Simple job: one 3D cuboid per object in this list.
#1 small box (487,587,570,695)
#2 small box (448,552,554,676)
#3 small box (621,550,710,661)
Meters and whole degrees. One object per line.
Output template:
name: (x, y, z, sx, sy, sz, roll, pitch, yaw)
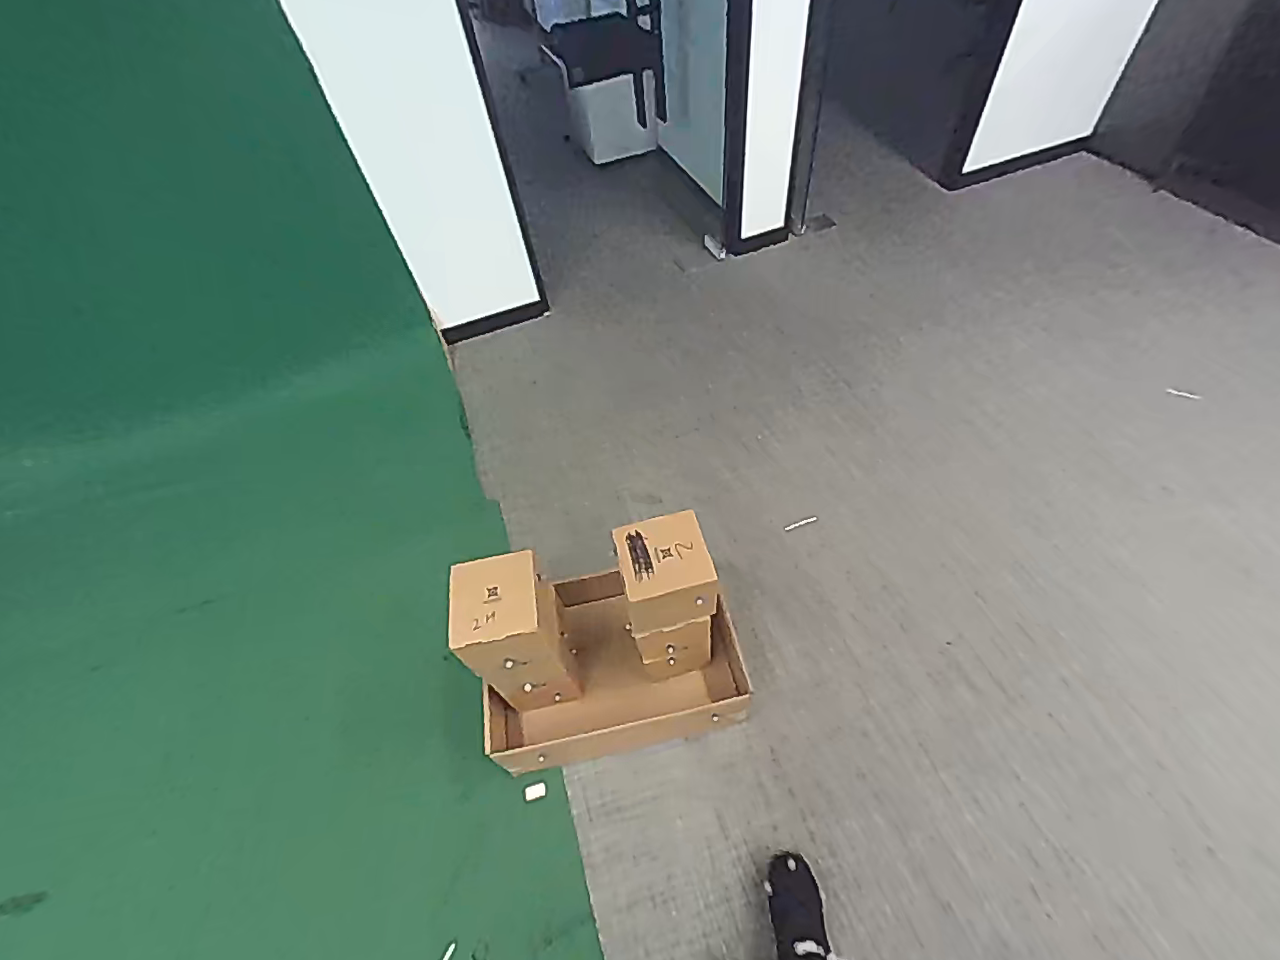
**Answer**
small box: (-0.258, 0.367, 1.225, 0.168, 0.176, 0.179, -9, 55, -1)
small box: (-0.275, 0.273, 1.091, 0.168, 0.176, 0.179, -11, 54, -3)
small box: (0.058, 0.291, 1.243, 0.168, 0.176, 0.179, -14, 54, -3)
